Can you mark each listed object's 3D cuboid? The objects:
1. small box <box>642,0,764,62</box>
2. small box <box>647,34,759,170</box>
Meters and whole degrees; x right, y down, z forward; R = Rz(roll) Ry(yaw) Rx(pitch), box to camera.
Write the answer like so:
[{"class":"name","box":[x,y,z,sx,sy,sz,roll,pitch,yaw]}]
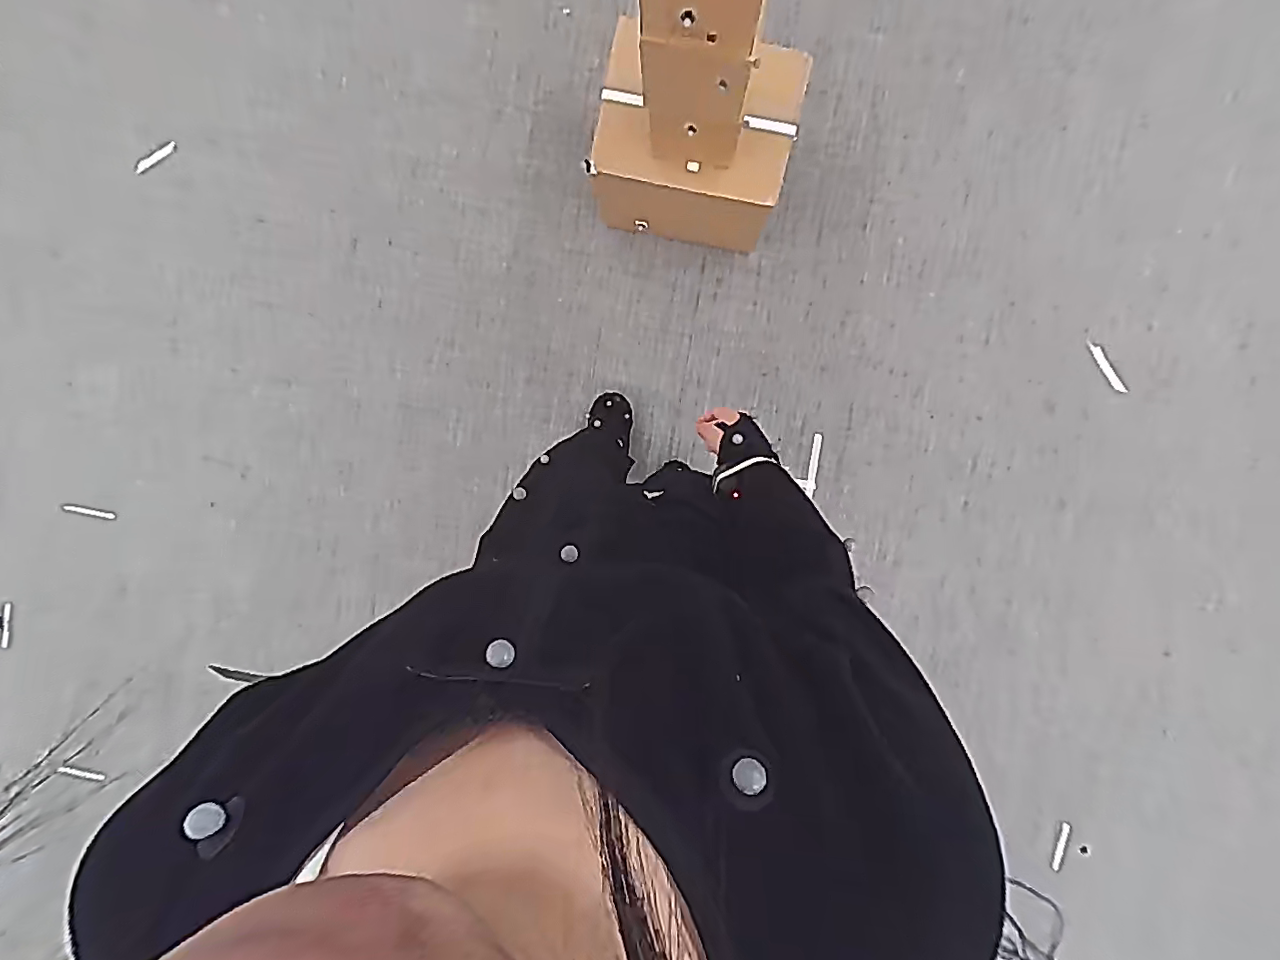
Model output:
[{"class":"small box","box":[0.094,-0.711,0.715,0.168,0.176,0.179,10,96,1]},{"class":"small box","box":[0.114,-0.727,1.041,0.179,0.176,0.168,10,96,1]}]
